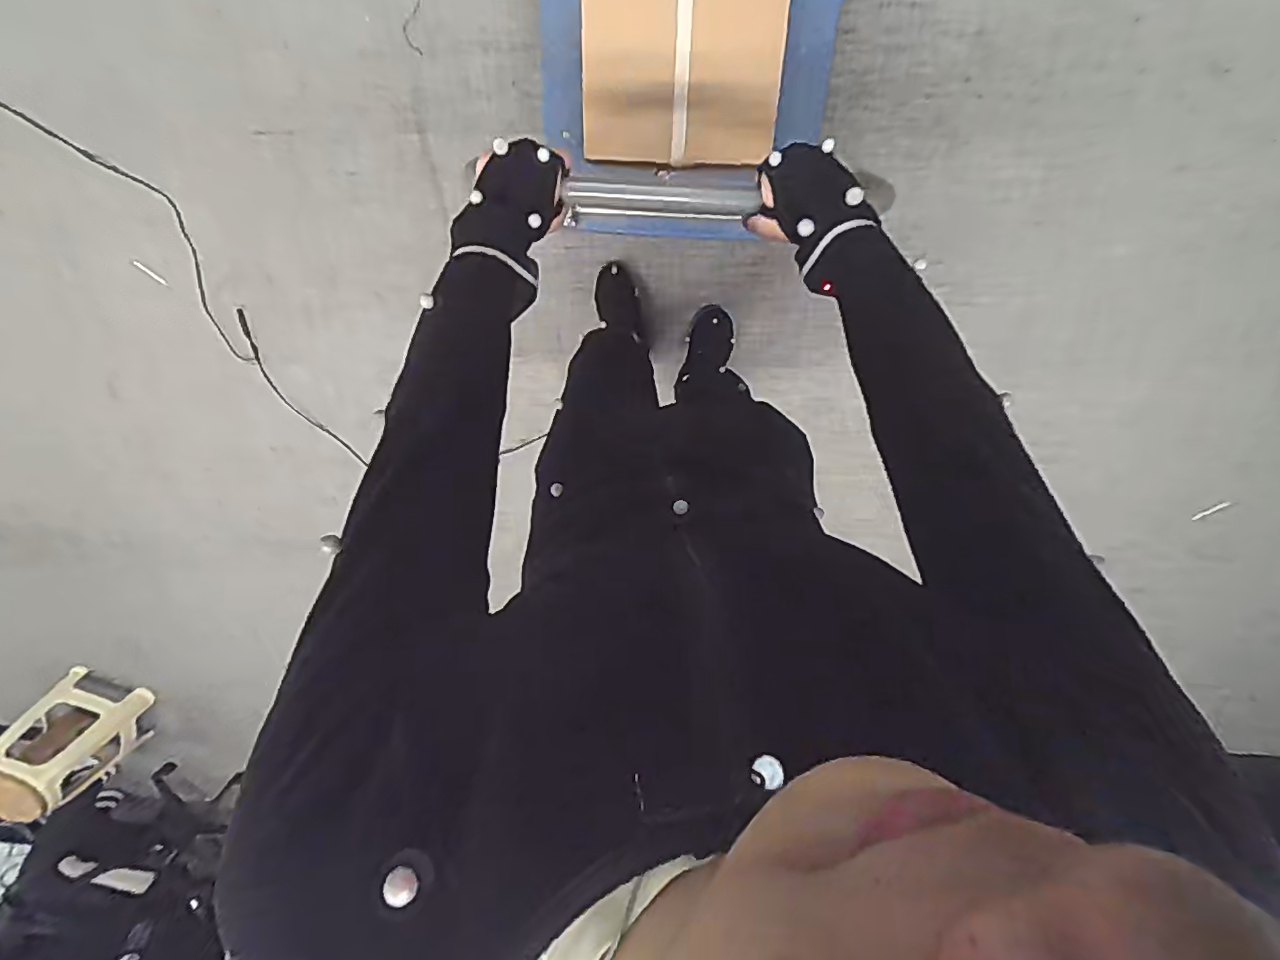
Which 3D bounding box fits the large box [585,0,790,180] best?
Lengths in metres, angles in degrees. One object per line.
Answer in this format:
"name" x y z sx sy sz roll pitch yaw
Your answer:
"large box" 0.083 -0.766 0.948 0.320 0.320 0.408 3 115 4
